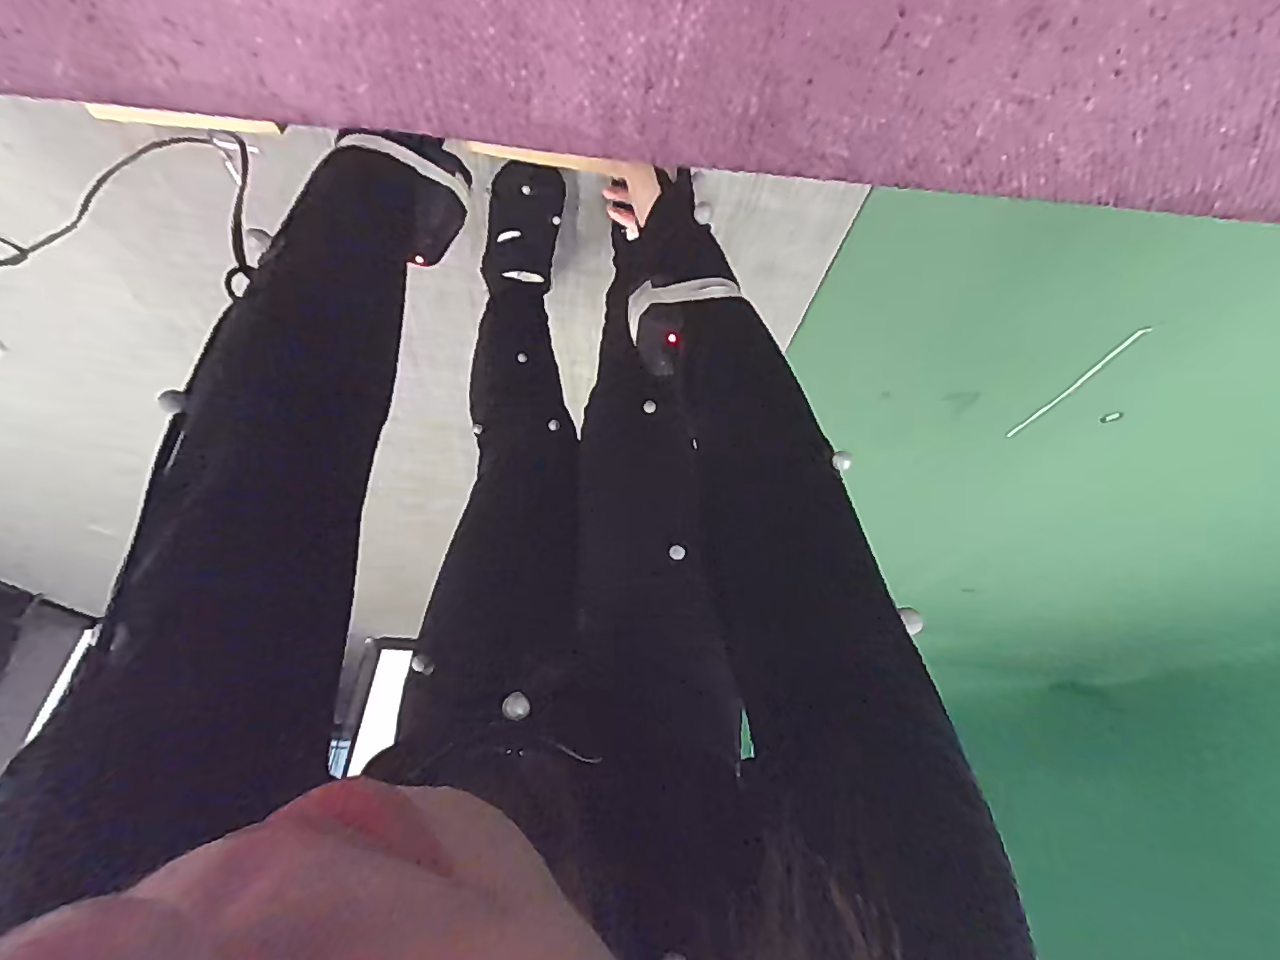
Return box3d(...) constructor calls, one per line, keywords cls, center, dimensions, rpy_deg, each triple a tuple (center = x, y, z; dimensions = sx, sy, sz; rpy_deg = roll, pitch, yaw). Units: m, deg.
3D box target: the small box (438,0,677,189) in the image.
box3d(cls="small box", center=(-0.066, -0.401, 0.480), dimensions=(0.179, 0.176, 0.168), rpy_deg=(7, 152, -8))
